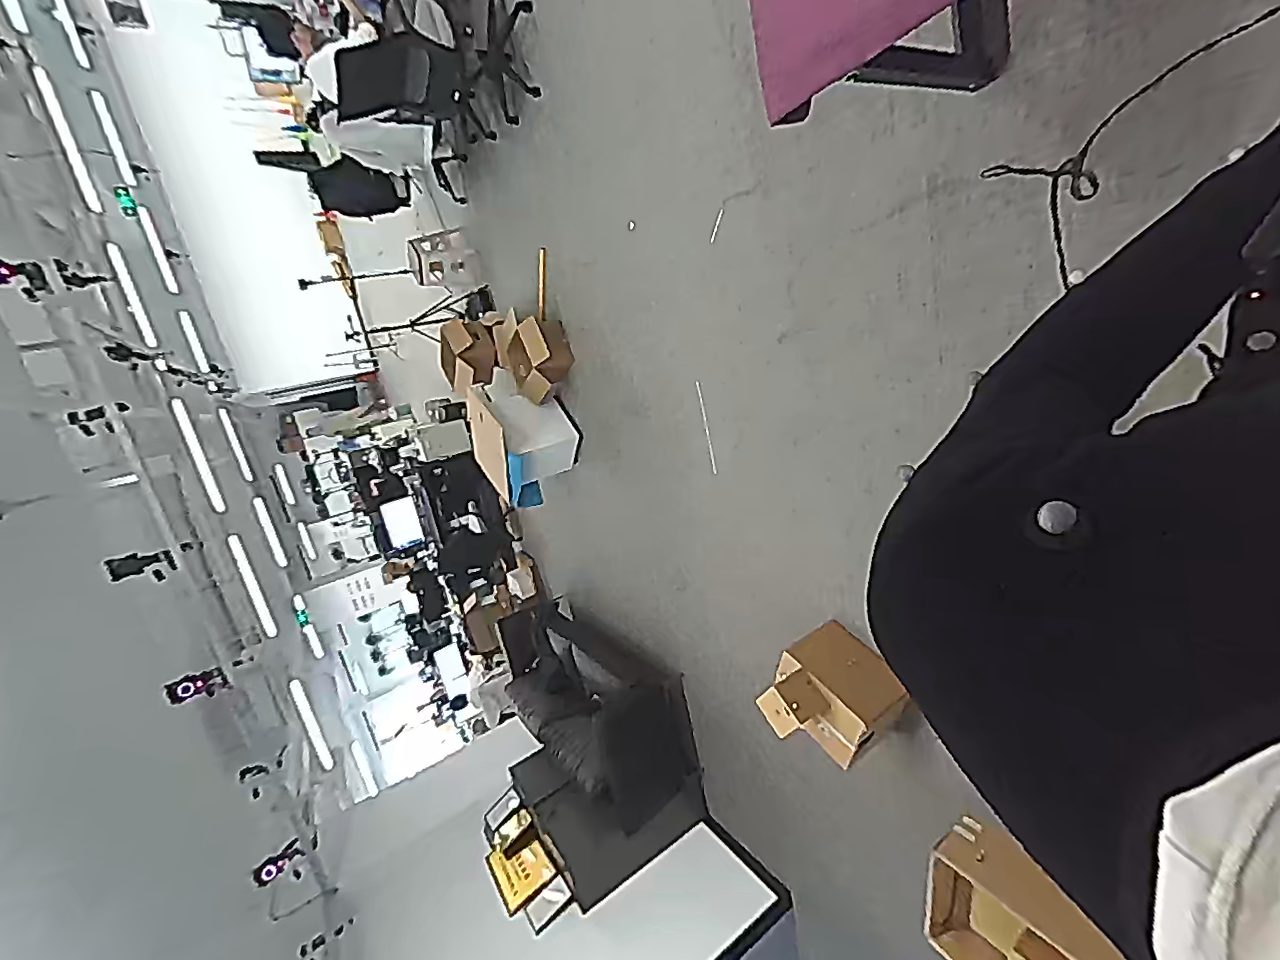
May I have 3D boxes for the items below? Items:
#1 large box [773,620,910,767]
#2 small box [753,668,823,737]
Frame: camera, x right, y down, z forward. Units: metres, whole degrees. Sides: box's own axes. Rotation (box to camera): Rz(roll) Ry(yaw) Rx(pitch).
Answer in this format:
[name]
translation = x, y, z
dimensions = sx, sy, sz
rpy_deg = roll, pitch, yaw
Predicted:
[large box]
translation = 0.811, 0.862, 2.230
dimensions = 0.408, 0.320, 0.320
rpy_deg = 38, 138, 42
[small box]
translation = 0.581, 0.871, 2.119
dimensions = 0.168, 0.176, 0.179
rpy_deg = 54, 146, 27
